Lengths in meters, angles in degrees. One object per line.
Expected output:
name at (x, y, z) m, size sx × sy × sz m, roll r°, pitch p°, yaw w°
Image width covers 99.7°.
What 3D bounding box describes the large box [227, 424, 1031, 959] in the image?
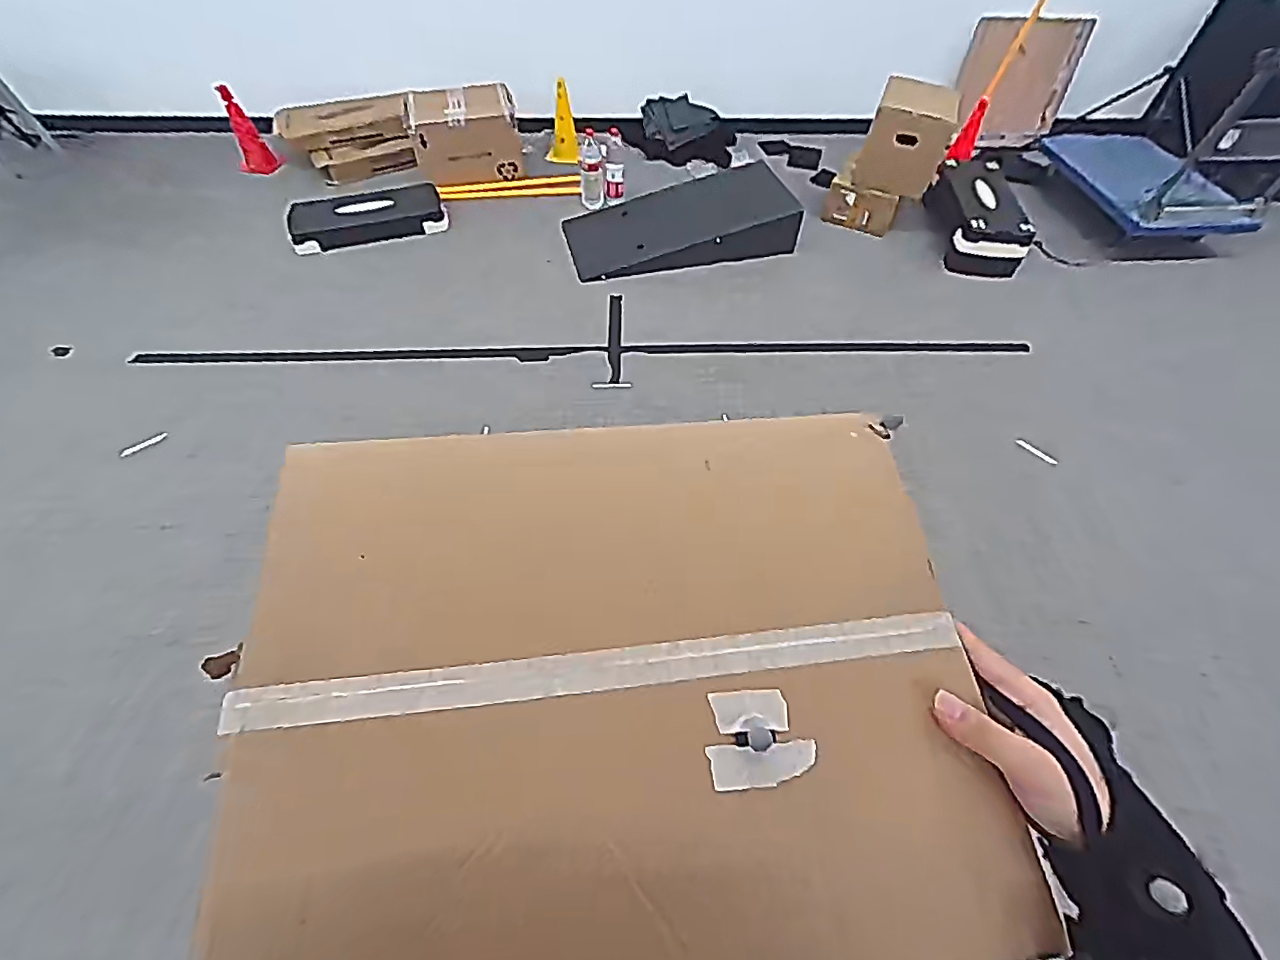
large box at (-0.022, 0.174, 0.451) m, size 0.408 × 0.320 × 0.320 m, roll -4°, pitch 66°, yaw -8°
